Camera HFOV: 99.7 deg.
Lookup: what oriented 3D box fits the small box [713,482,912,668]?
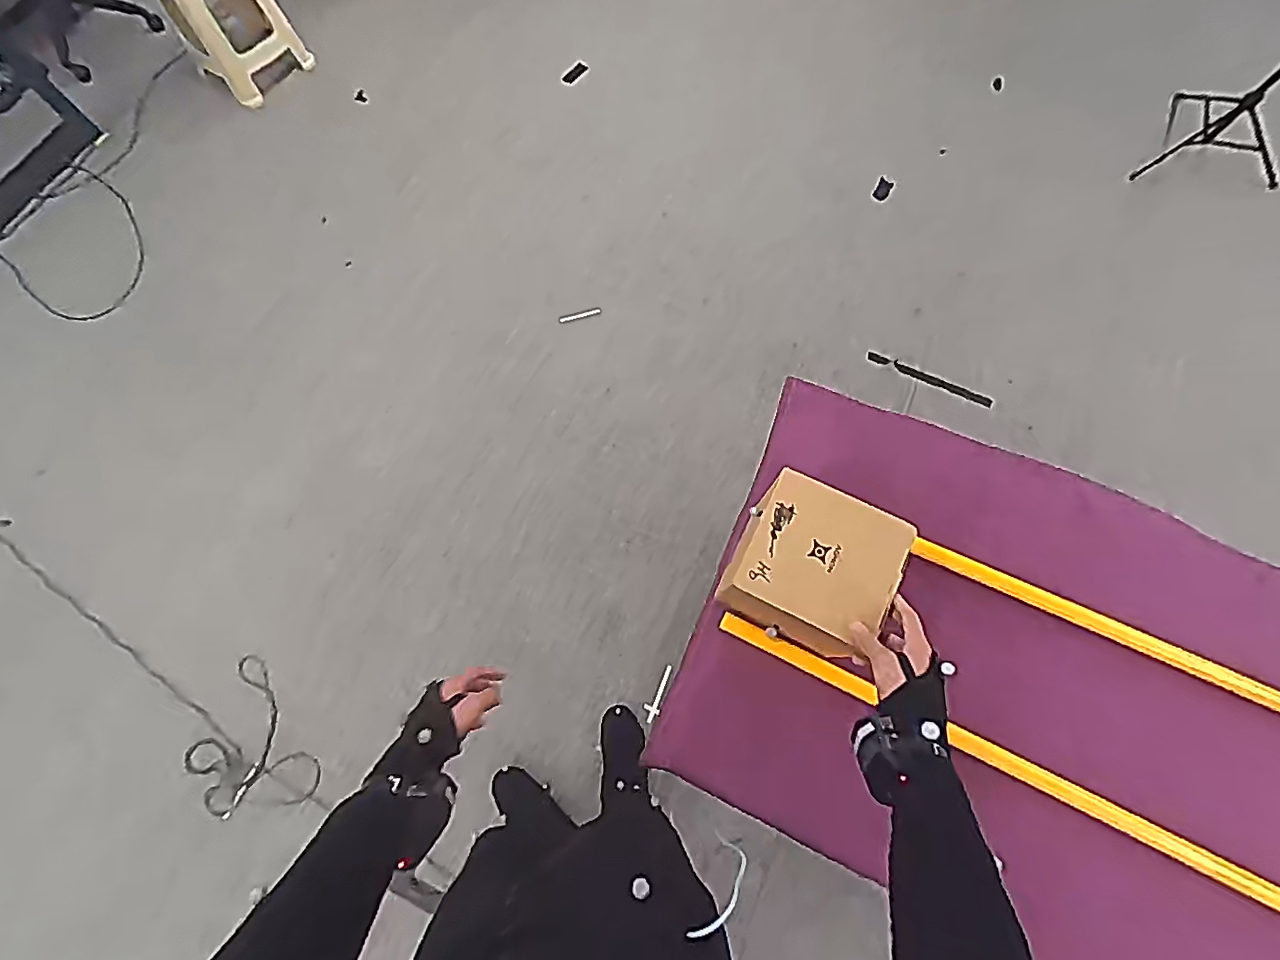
[{"bbox_3d":[0.216,0.130,0.721,0.179,0.176,0.168,27,74,8],"label":"small box"}]
